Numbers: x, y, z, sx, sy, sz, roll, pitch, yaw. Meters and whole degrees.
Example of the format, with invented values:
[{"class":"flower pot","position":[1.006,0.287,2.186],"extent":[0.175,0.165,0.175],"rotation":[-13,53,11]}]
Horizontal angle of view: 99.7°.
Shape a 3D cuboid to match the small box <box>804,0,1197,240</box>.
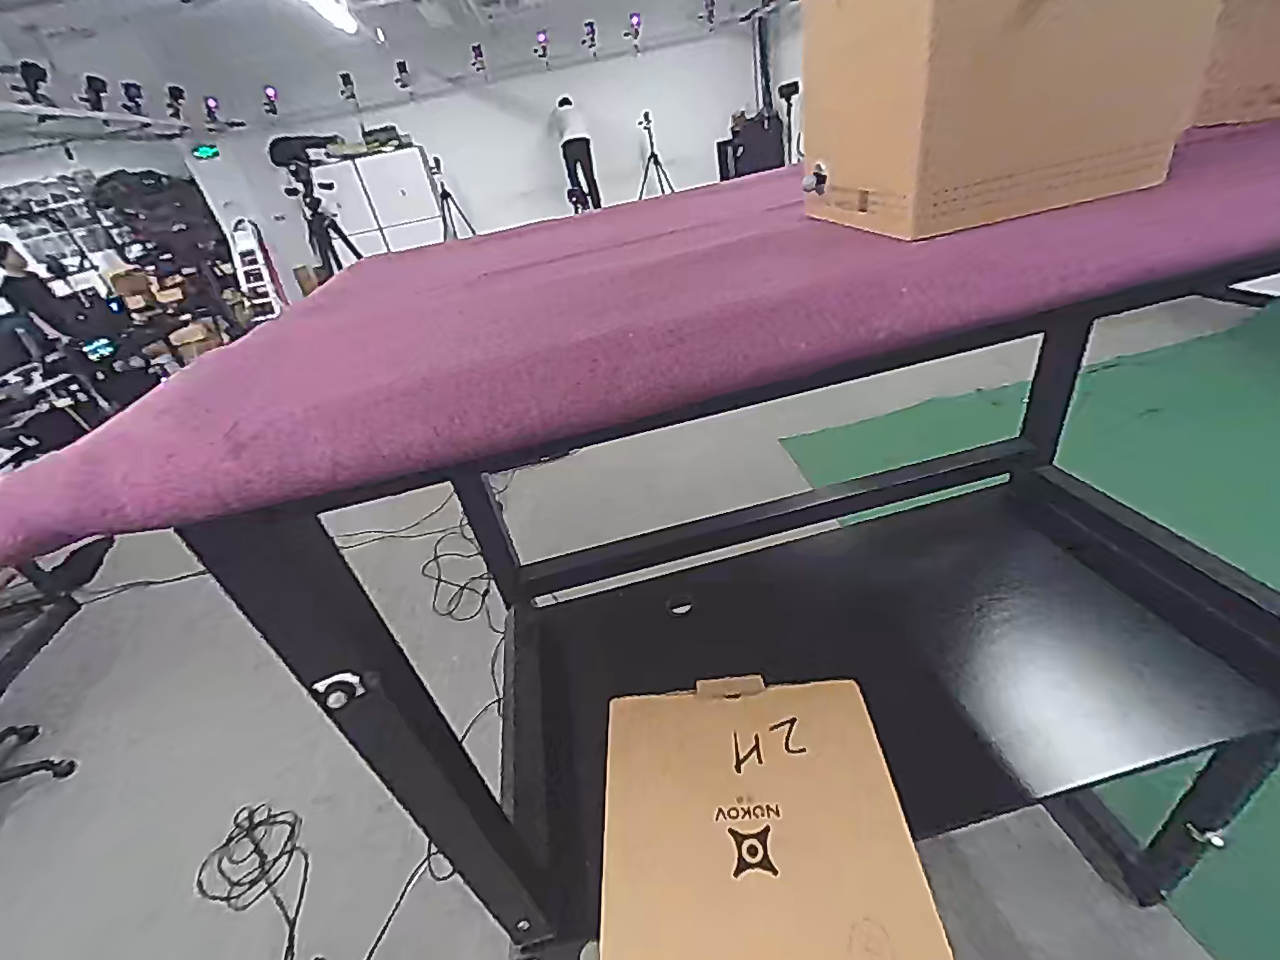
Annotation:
[{"class":"small box","position":[0.229,-0.276,0.373],"extent":[0.179,0.176,0.168],"rotation":[-13,33,-3]}]
